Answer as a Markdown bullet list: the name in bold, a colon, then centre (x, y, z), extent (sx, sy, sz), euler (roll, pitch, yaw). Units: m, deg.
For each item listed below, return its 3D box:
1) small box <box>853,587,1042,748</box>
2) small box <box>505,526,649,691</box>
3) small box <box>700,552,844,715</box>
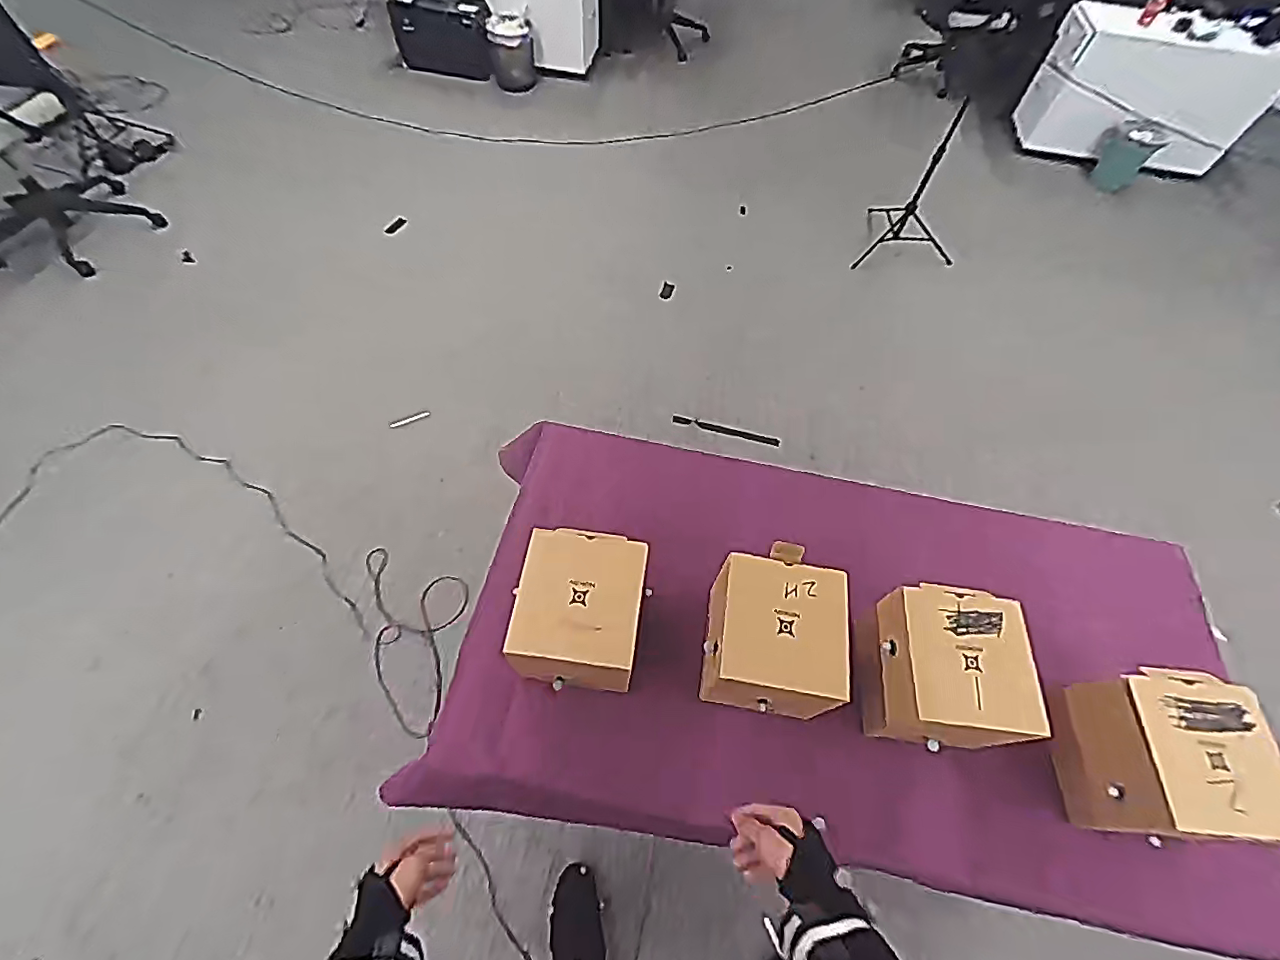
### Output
- **small box**: centre (0.424, 0.276, 0.783), extent (0.168, 0.176, 0.179), euler (8, 59, 0)
- **small box**: centre (-0.085, 0.192, 0.793), extent (0.168, 0.176, 0.179), euler (9, 59, 1)
- **small box**: centre (0.186, 0.231, 0.791), extent (0.168, 0.176, 0.179), euler (11, 59, 2)
